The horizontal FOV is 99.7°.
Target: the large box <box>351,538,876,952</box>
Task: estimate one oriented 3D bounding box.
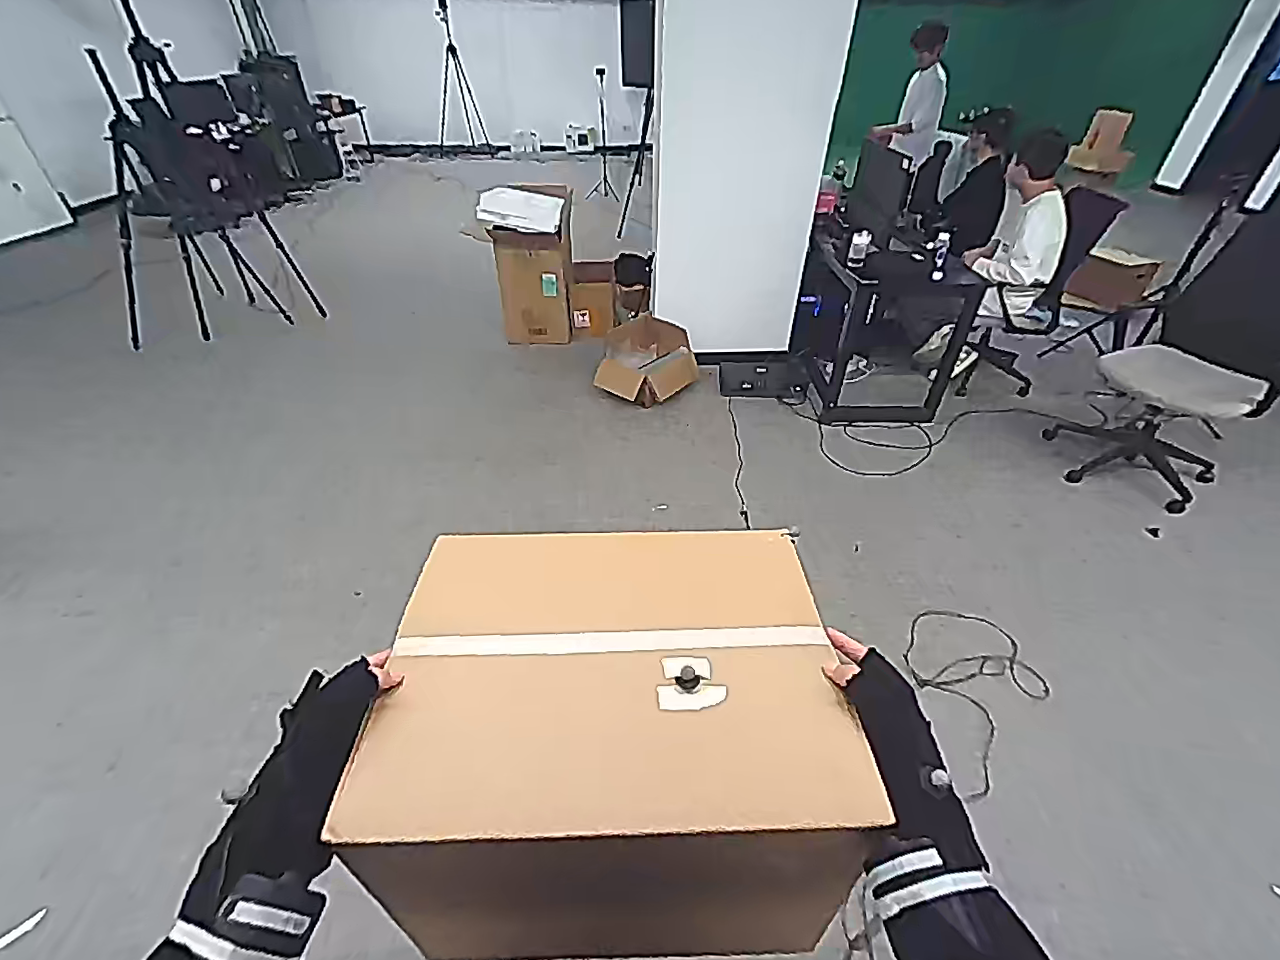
[{"bbox_3d":[-0.024,0.282,0.608,0.408,0.320,0.320,0,36,-1],"label":"large box"}]
